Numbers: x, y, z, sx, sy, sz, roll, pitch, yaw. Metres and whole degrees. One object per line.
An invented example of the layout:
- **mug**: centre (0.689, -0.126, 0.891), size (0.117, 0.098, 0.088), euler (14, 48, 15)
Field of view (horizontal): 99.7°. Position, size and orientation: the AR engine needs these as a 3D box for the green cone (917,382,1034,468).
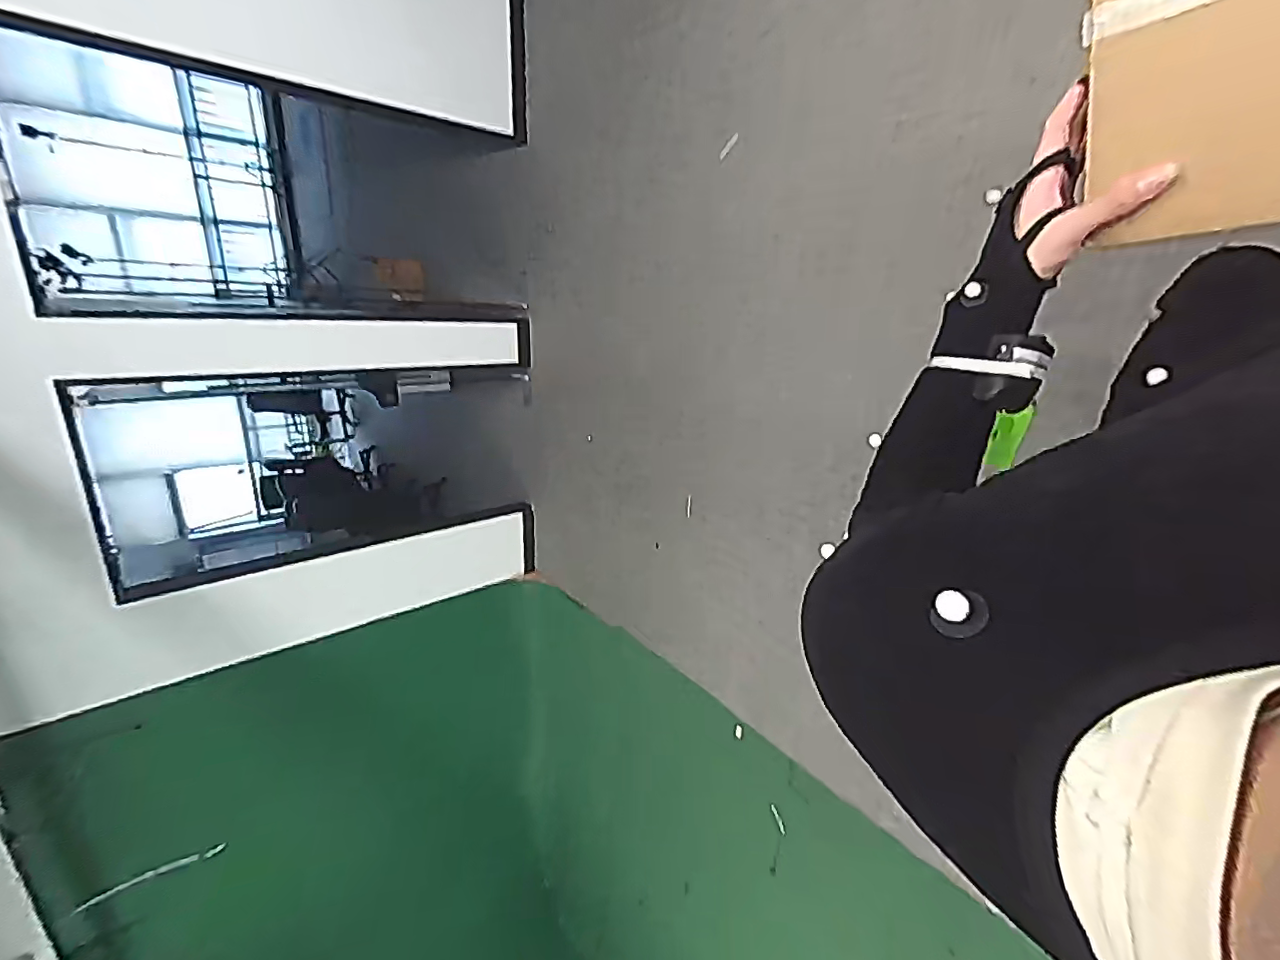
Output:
- **green cone**: centre (0.801, -0.120, 1.368), size (0.200, 0.368, 0.202), euler (30, 123, 43)
